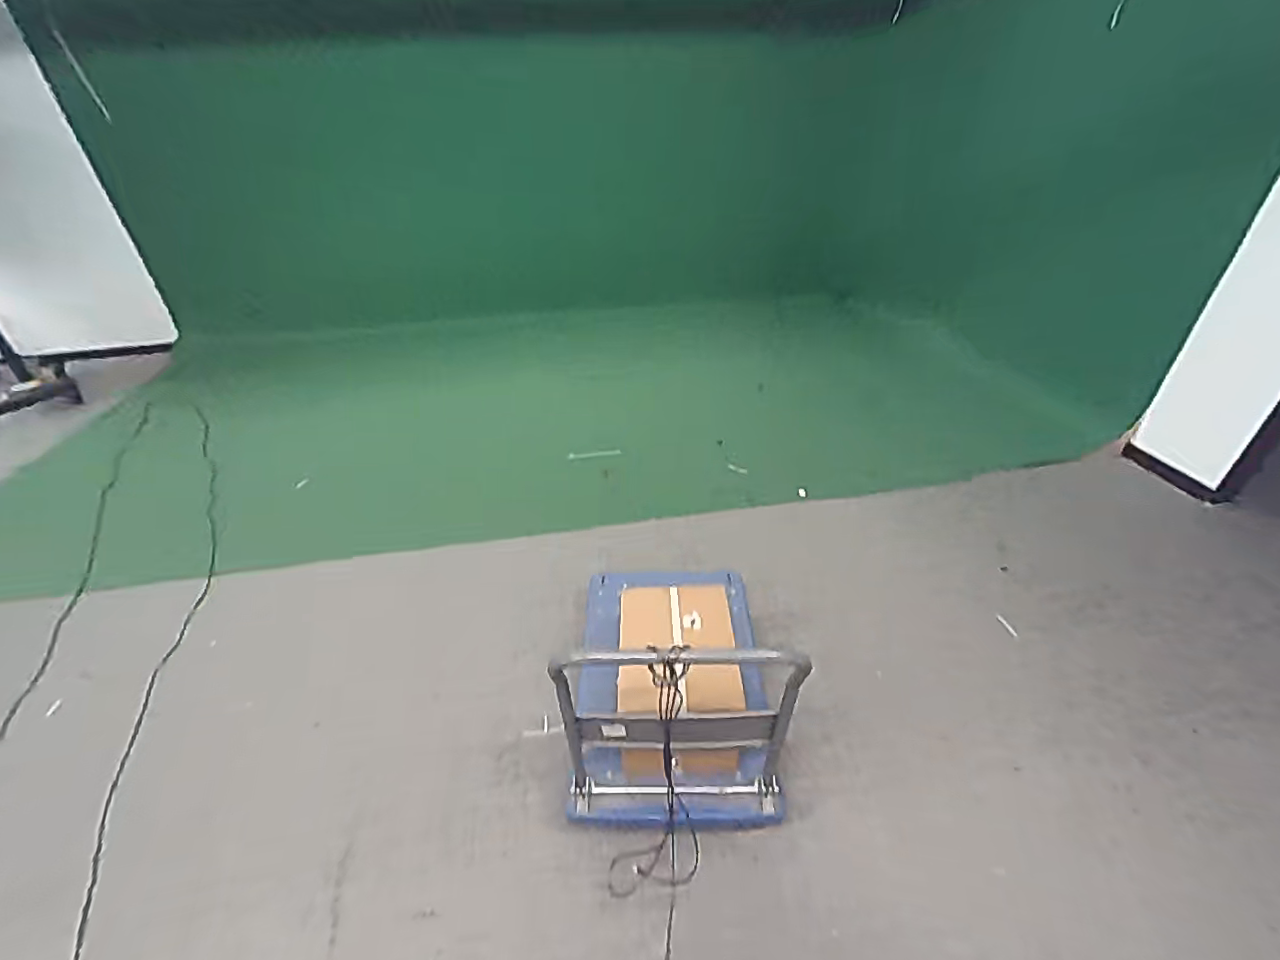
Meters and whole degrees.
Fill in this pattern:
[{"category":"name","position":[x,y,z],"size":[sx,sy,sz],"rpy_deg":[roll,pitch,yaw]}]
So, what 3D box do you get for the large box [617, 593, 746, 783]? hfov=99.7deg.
[{"category":"large box","position":[0.105,0.576,1.525],"size":[0.320,0.320,0.408],"rpy_deg":[-1,34,1]}]
